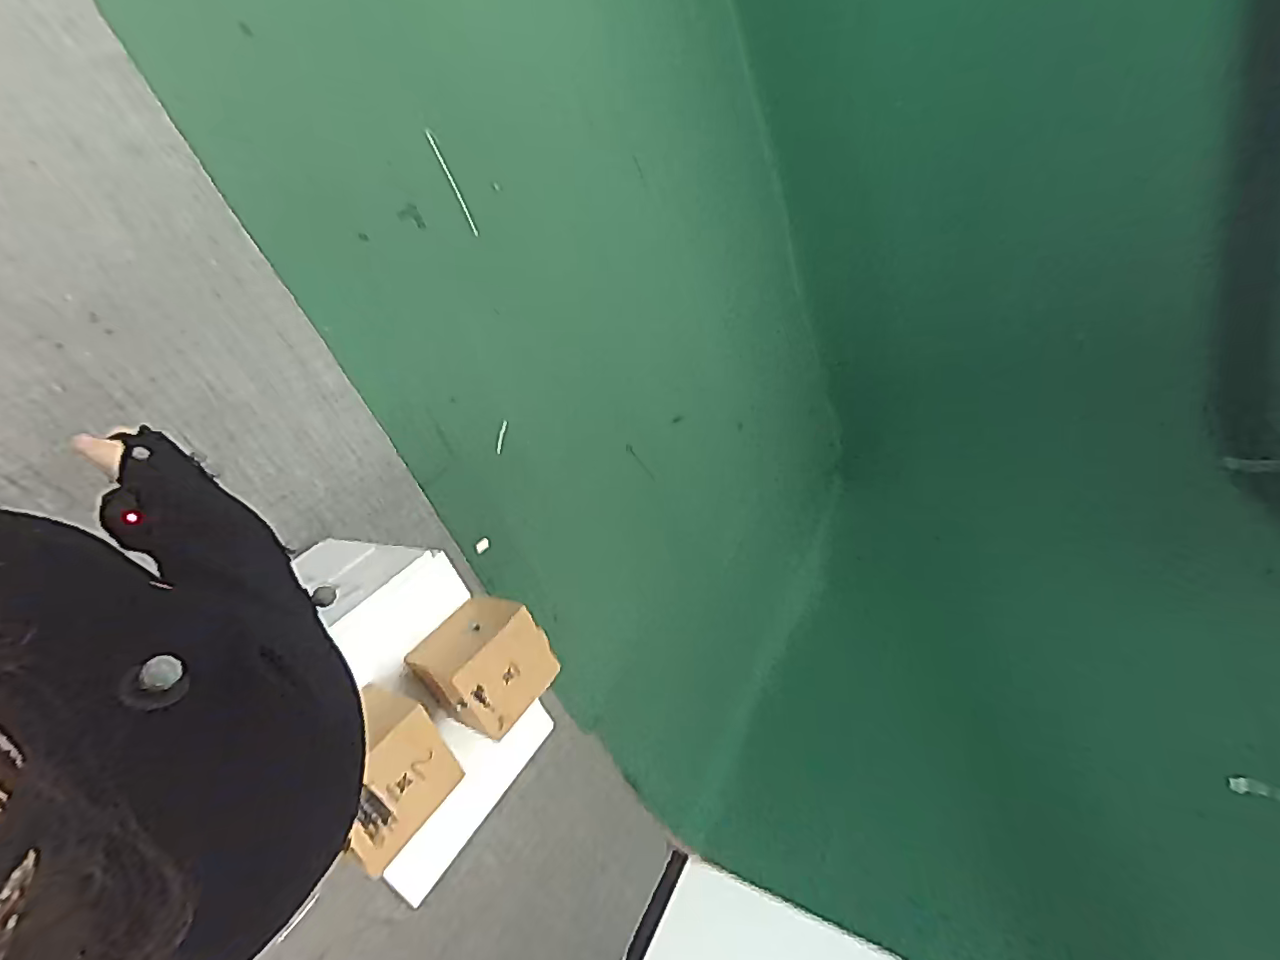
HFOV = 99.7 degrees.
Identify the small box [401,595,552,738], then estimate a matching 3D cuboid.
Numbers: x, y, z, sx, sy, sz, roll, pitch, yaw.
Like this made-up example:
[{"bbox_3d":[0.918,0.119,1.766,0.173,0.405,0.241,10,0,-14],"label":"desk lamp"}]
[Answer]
[{"bbox_3d":[-0.303,0.335,1.009,0.179,0.176,0.168,-45,122,-40],"label":"small box"}]
